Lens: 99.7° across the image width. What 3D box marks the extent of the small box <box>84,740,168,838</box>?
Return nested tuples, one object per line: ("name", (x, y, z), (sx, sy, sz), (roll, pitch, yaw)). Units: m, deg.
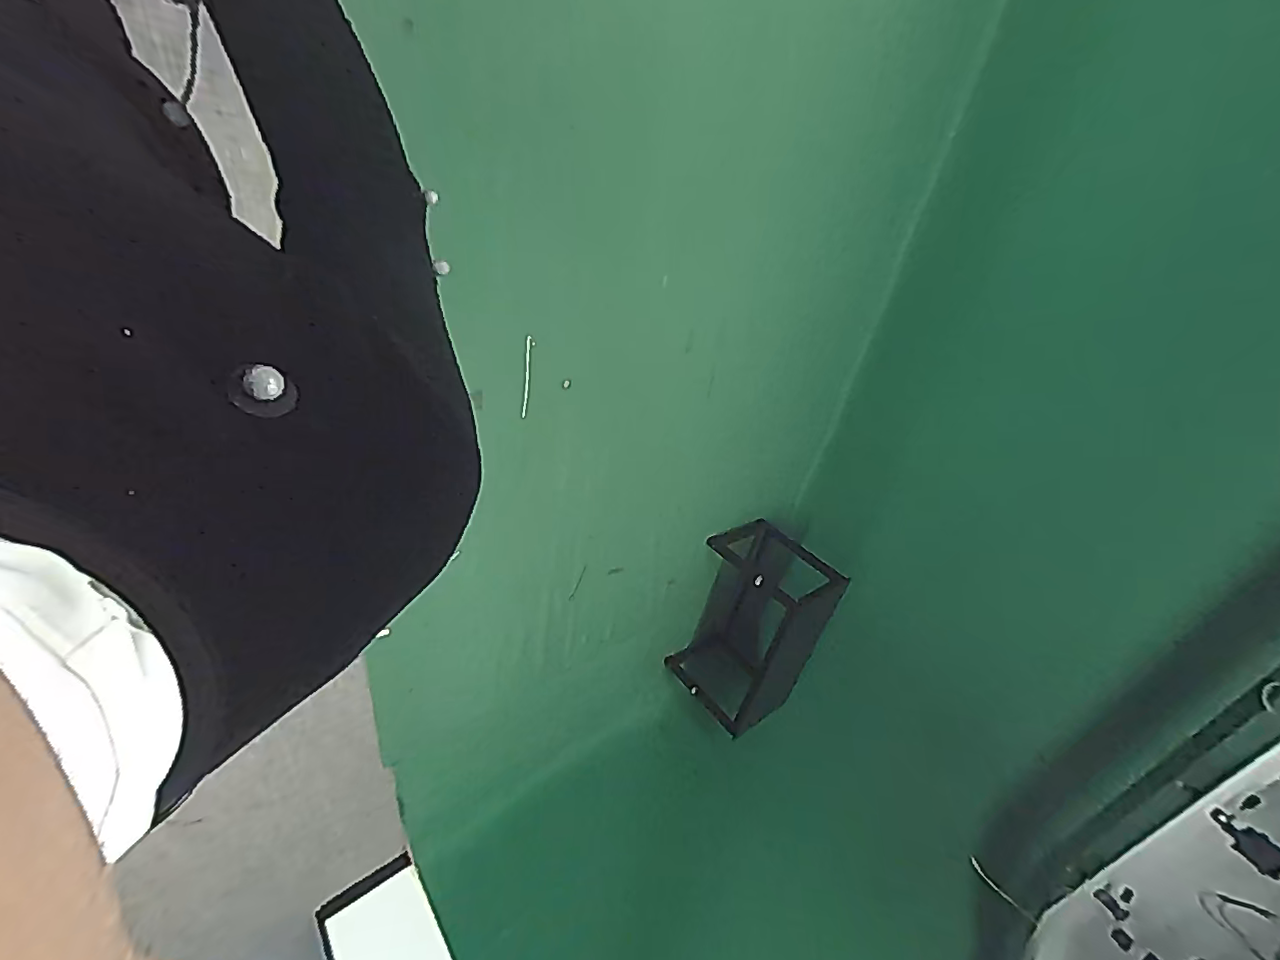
("small box", (-1.606, 0.960, 1.694), (0.179, 0.176, 0.168), (-8, 127, -43))
